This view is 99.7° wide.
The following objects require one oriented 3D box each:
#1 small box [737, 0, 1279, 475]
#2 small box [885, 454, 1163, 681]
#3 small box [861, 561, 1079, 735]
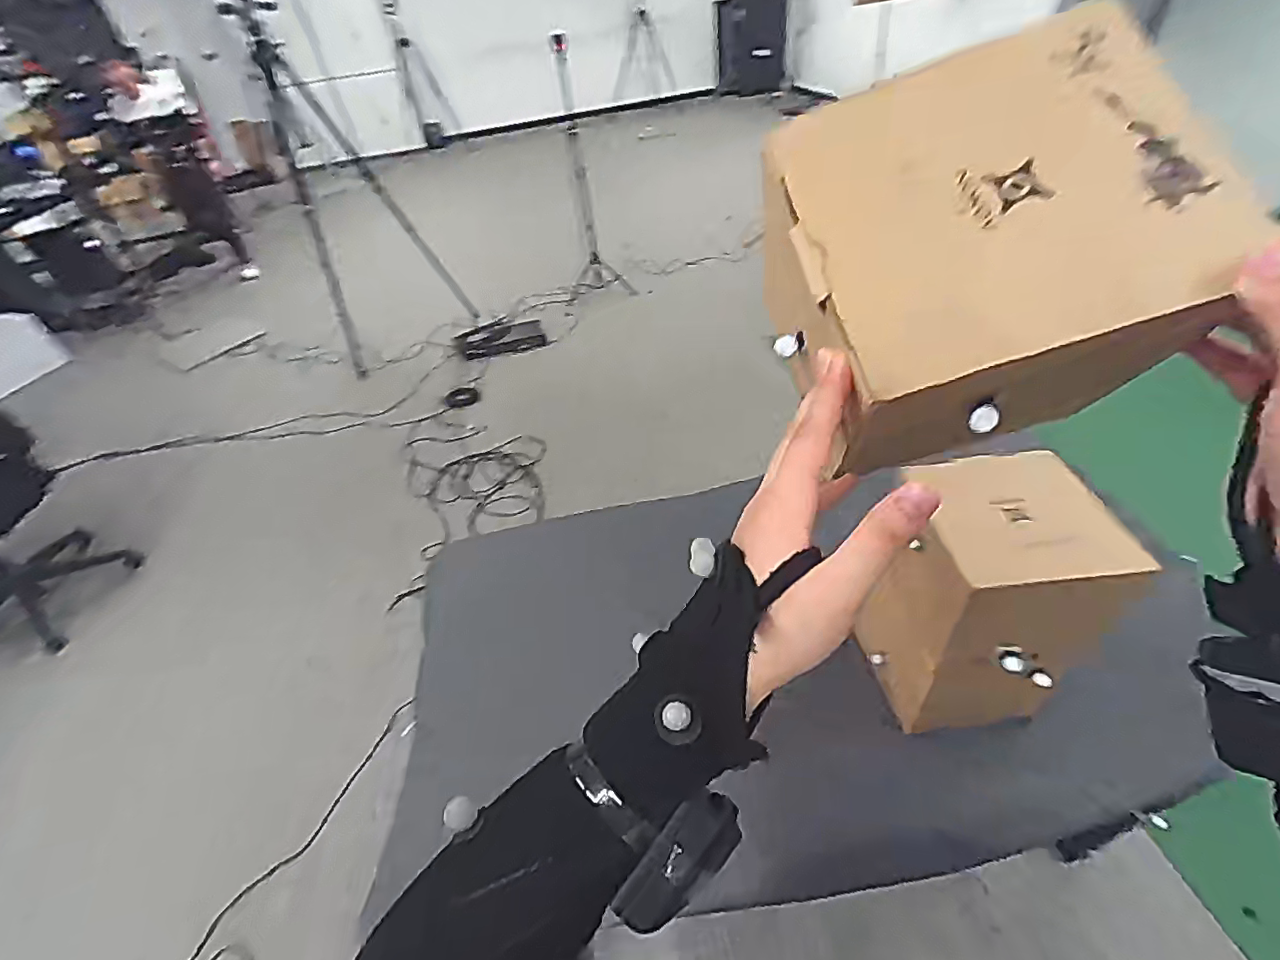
[{"bbox_3d":[0.169,-0.114,0.319,0.179,0.176,0.168,-17,75,10],"label":"small box"},{"bbox_3d":[0.390,0.096,0.597,0.168,0.176,0.179,-7,43,5],"label":"small box"},{"bbox_3d":[0.416,0.211,0.710,0.179,0.176,0.168,-9,41,0],"label":"small box"}]
